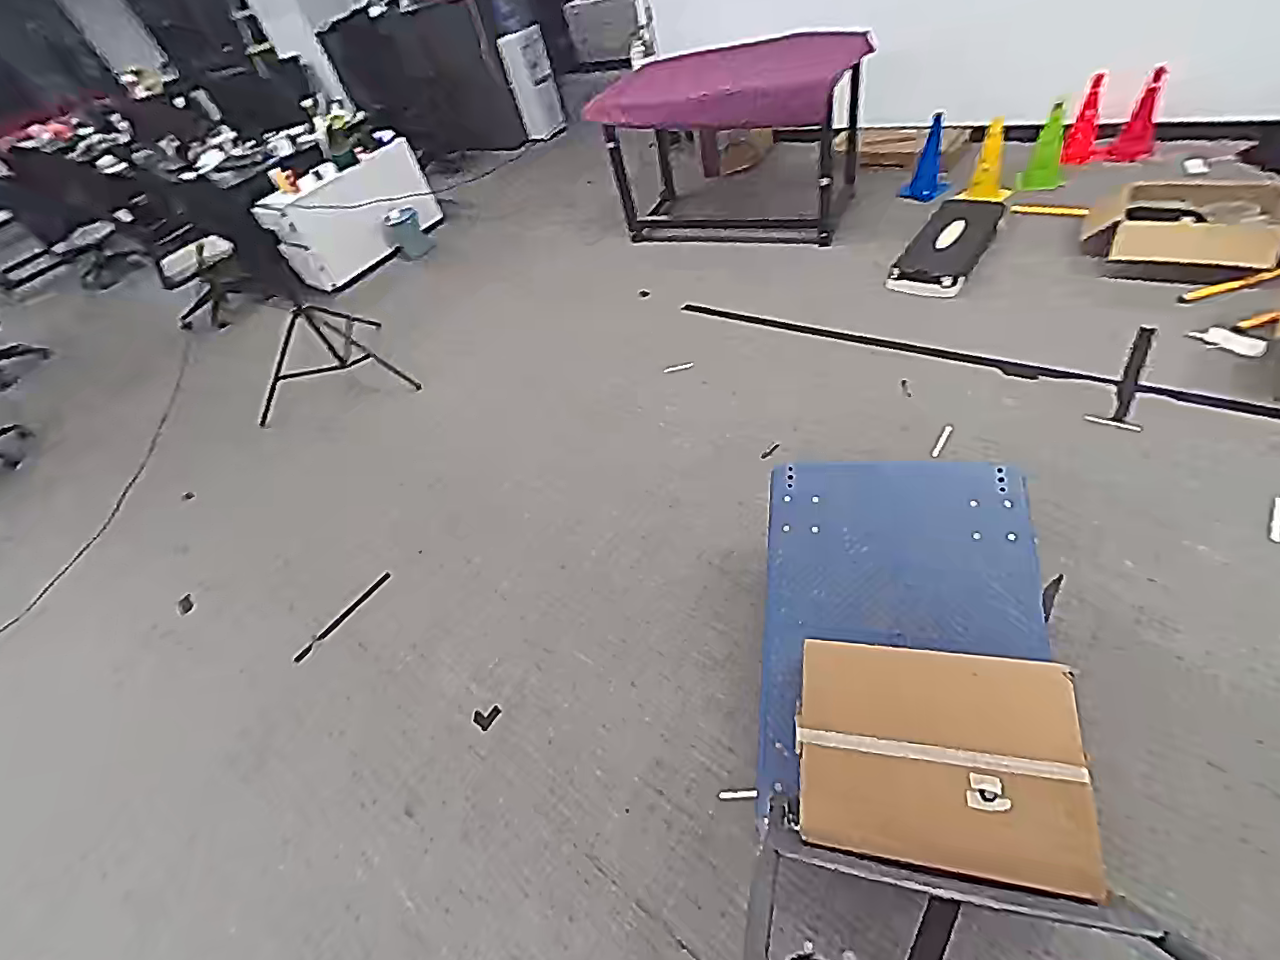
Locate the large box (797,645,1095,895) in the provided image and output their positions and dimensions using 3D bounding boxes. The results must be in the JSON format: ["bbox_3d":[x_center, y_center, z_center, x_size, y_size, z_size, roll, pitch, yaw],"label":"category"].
[{"bbox_3d":[0.503,0.503,0.998,0.408,0.320,0.320,1,67,17],"label":"large box"}]
